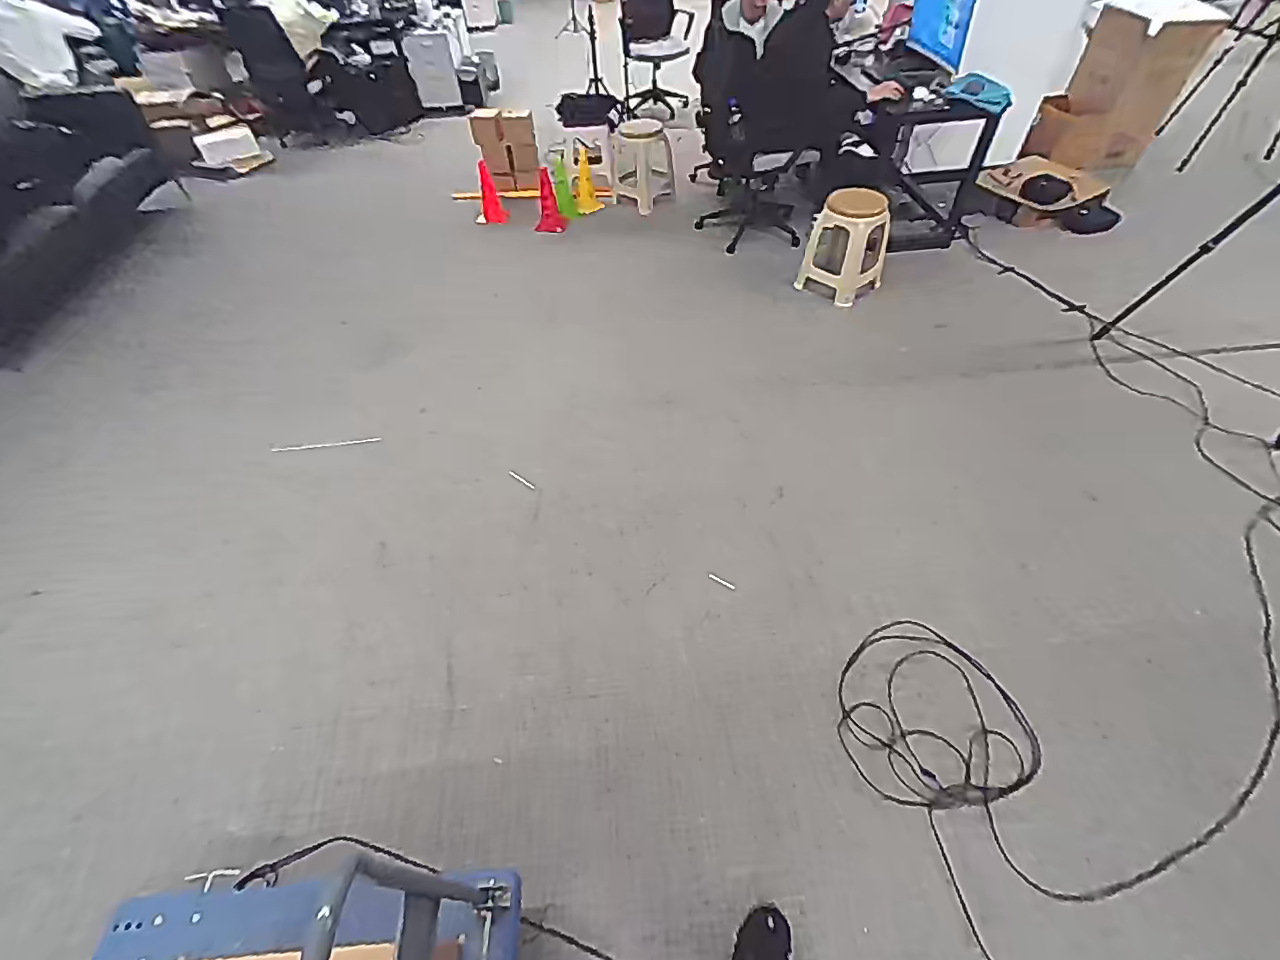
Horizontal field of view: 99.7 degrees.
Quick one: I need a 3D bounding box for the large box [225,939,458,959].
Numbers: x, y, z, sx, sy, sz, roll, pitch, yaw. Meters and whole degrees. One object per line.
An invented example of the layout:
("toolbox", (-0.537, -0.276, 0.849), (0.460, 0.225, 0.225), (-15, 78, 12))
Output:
("large box", (-0.557, 0.979, 0.888), (0.408, 0.320, 0.320), (-5, 49, 0))
